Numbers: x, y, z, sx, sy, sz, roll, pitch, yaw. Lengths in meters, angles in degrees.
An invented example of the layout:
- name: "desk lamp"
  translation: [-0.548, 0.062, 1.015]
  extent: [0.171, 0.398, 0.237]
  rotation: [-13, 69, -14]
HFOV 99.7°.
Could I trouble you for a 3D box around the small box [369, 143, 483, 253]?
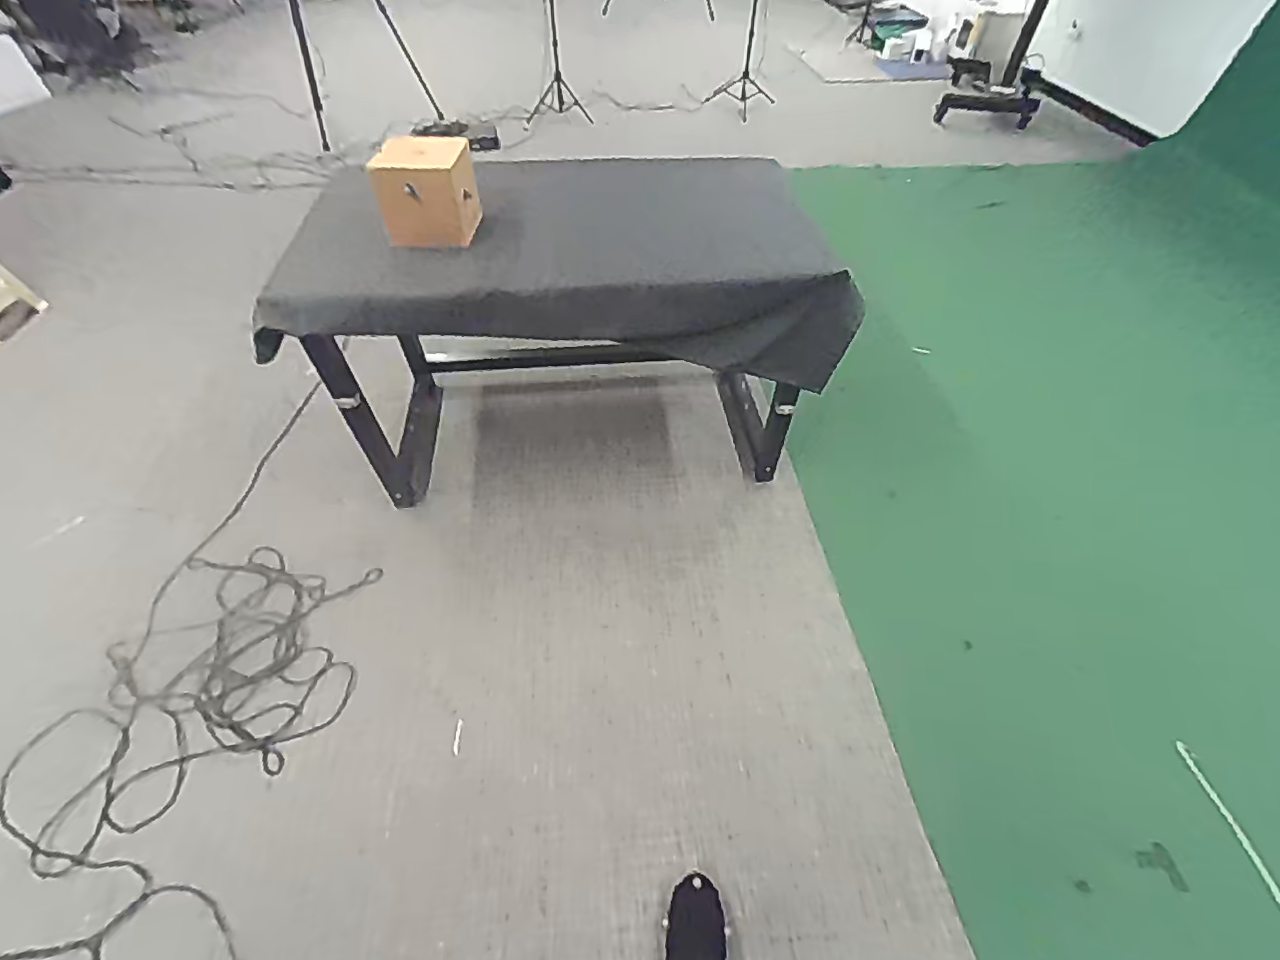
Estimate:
- name: "small box"
  translation: [-0.458, -0.619, 1.195]
  extent: [0.179, 0.176, 0.168]
  rotation: [2, 50, 0]
